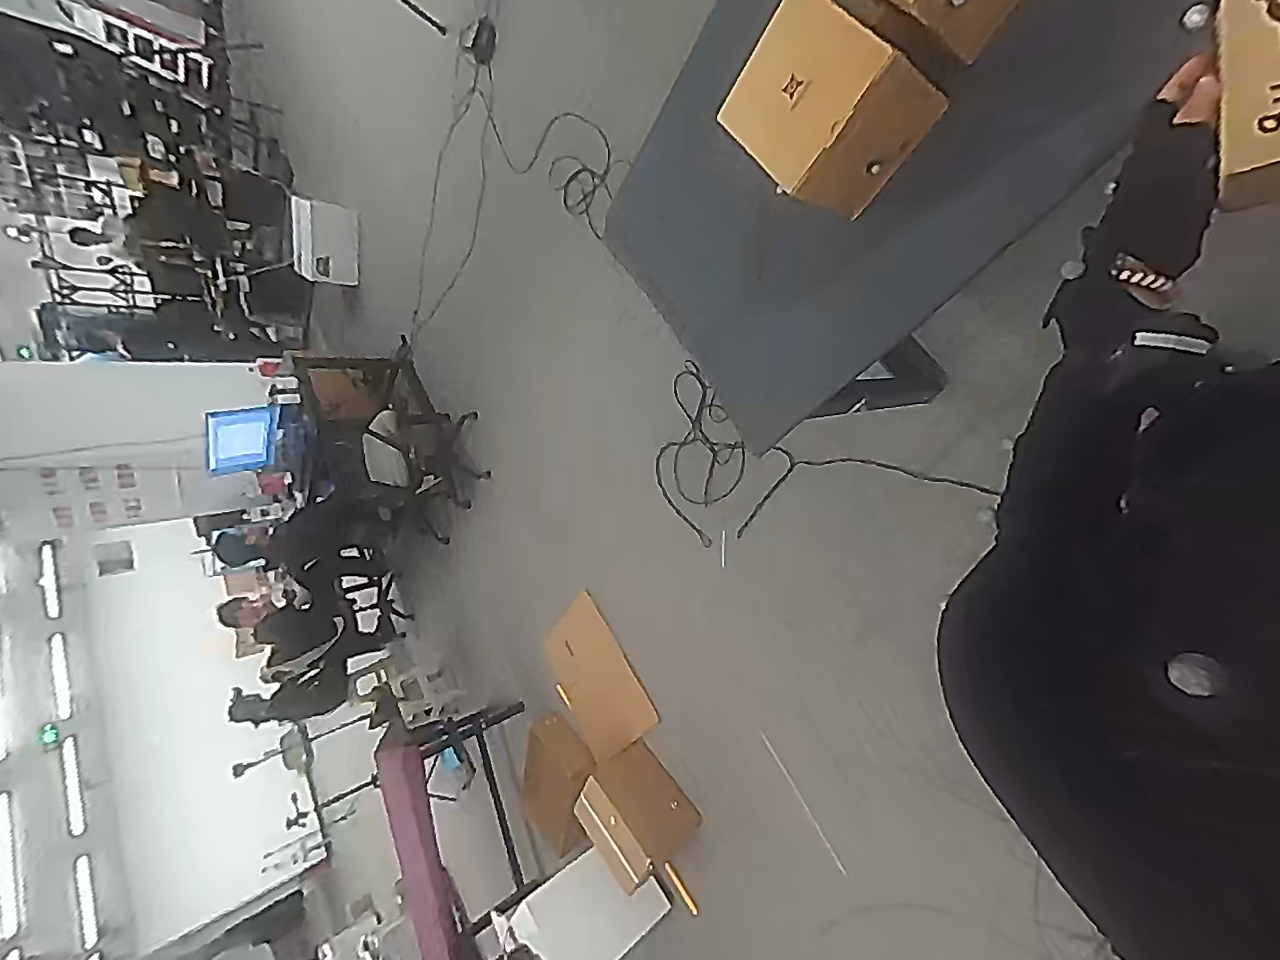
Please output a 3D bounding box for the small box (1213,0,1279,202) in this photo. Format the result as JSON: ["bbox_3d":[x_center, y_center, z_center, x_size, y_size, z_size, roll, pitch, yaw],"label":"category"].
[{"bbox_3d":[0.454,-0.280,0.305,0.179,0.176,0.168,0,102,47],"label":"small box"}]
